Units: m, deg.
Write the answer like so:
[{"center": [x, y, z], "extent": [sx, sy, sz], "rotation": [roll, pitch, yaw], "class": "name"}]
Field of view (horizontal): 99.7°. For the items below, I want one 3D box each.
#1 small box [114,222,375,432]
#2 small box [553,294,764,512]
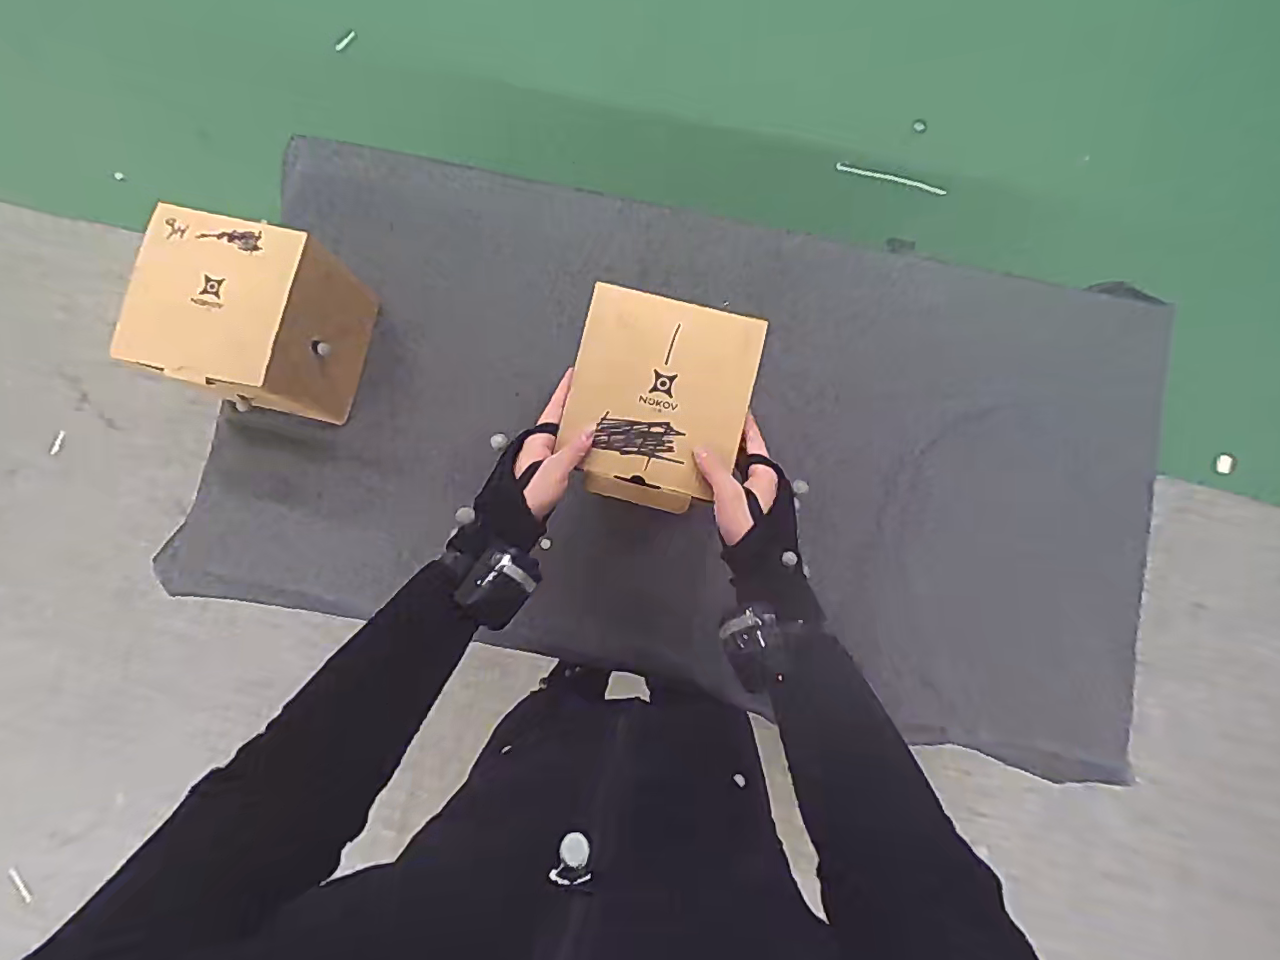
[{"center": [-0.443, -0.165, 0.639], "extent": [0.168, 0.176, 0.179], "rotation": [11, 84, 0], "class": "small box"}, {"center": [0.020, -0.068, 0.578], "extent": [0.168, 0.176, 0.179], "rotation": [13, 87, 2], "class": "small box"}]
